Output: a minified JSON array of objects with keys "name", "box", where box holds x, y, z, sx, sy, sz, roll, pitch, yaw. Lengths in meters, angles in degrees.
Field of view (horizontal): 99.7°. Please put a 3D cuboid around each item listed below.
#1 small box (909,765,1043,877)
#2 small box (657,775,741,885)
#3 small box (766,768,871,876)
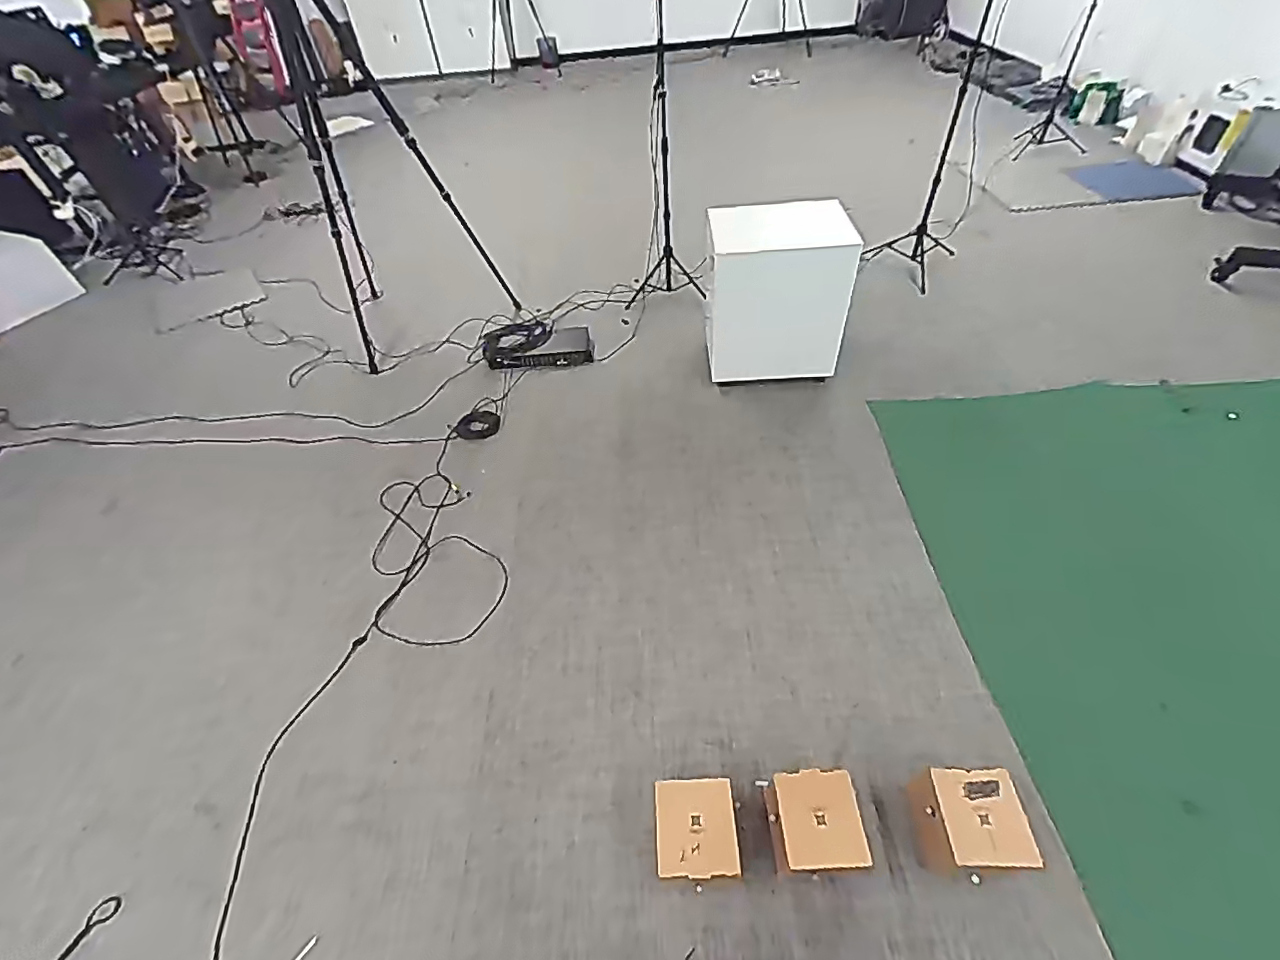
[{"name":"small box","box":[0.702,0.730,1.159,0.168,0.176,0.179,-1,49,4]},{"name":"small box","box":[0.123,0.763,1.179,0.168,0.176,0.179,-4,48,3]},{"name":"small box","box":[0.377,0.746,1.175,0.168,0.176,0.179,-4,47,1]}]
